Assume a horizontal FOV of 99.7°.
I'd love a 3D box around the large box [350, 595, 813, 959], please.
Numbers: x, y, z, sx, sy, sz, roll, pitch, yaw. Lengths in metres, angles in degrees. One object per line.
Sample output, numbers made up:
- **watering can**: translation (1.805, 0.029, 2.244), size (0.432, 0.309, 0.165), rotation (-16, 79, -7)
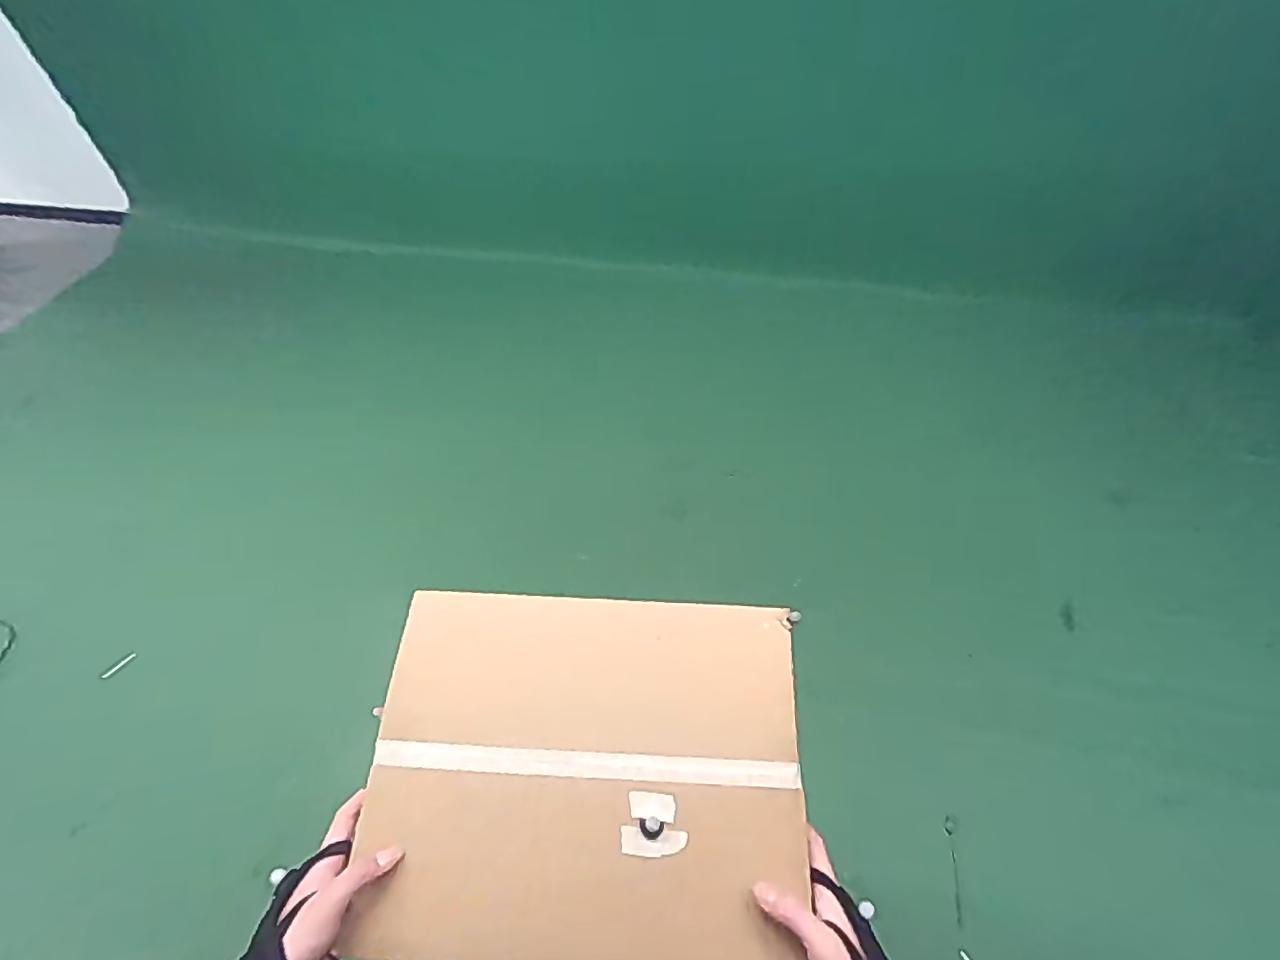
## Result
- **large box**: translation (-0.047, 0.337, 0.656), size (0.408, 0.320, 0.320), rotation (2, 64, 2)
